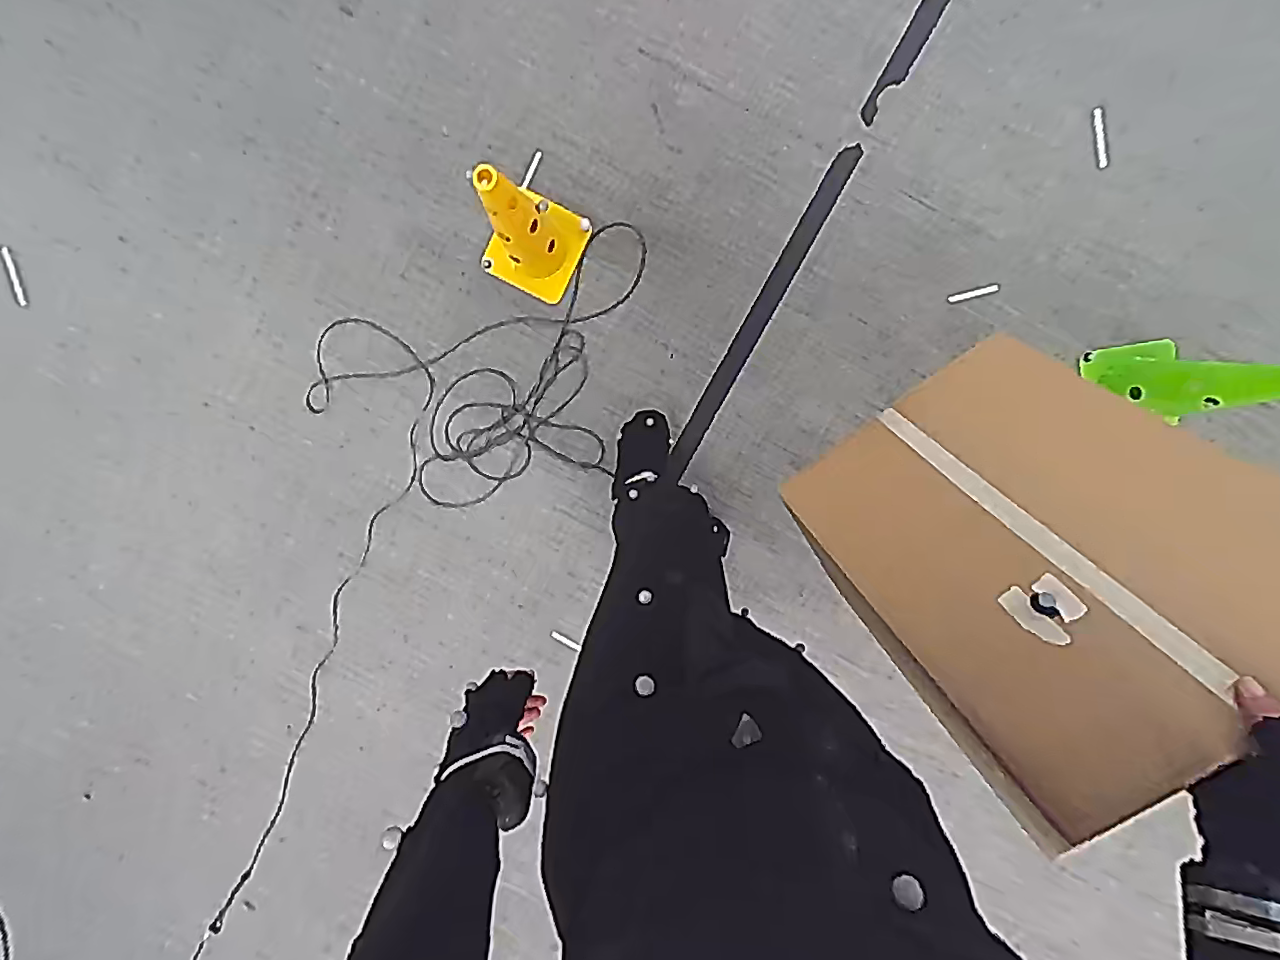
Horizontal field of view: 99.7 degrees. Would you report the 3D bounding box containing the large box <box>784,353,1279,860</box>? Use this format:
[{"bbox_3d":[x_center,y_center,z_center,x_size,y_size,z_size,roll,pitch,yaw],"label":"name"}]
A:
[{"bbox_3d":[0.435,0.134,0.614,0.320,0.408,0.320,-36,135,7],"label":"large box"}]

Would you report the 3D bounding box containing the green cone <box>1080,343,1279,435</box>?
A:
[{"bbox_3d":[1.073,-0.167,1.019,0.202,0.368,0.200,-10,97,2],"label":"green cone"}]
